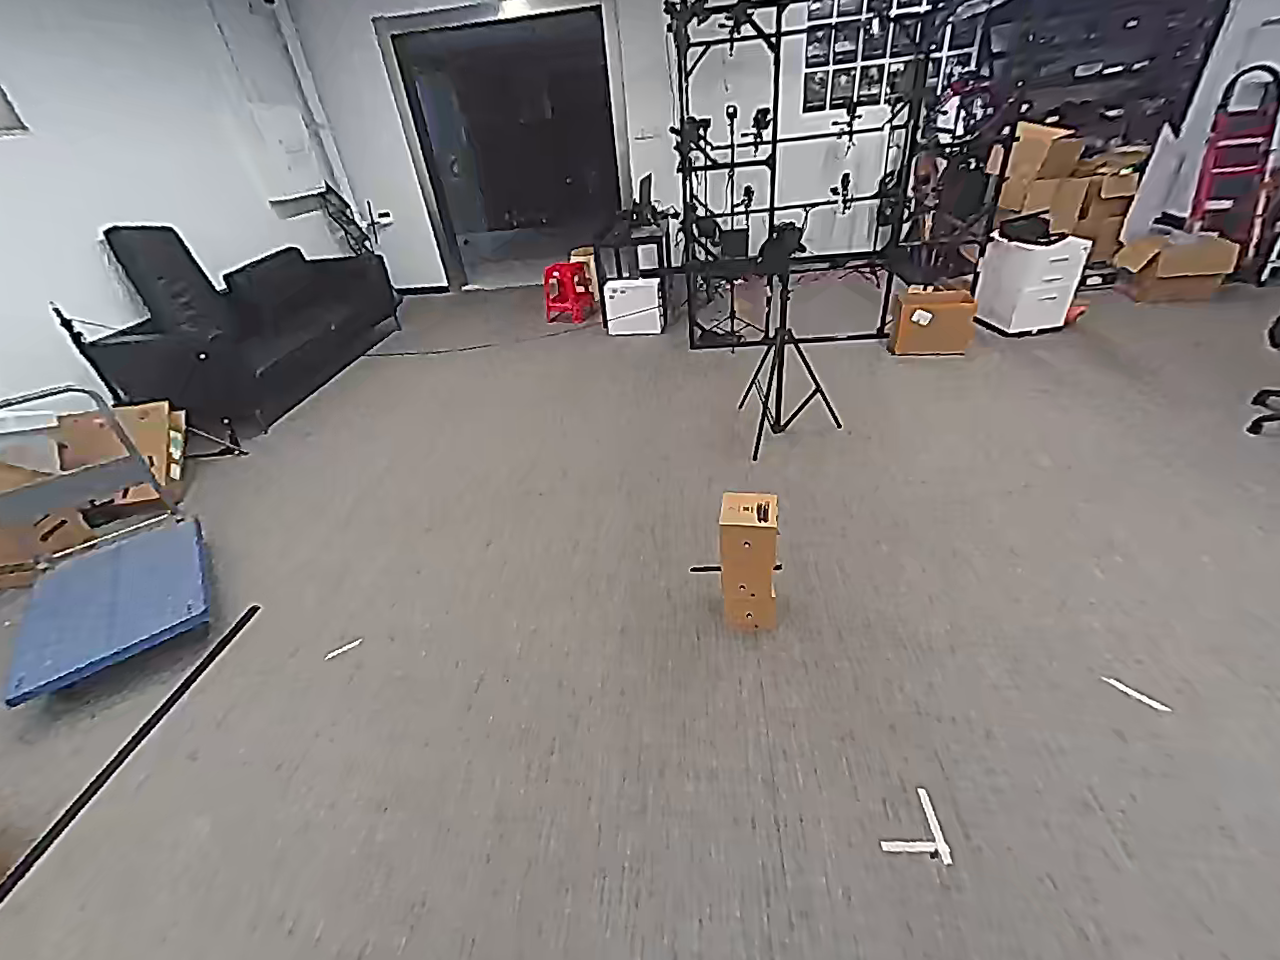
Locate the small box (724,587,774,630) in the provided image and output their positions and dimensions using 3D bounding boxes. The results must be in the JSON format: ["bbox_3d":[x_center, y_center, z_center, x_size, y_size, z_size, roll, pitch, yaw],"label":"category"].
[{"bbox_3d":[0.387,0.423,1.939,0.168,0.176,0.179,-3,33,6],"label":"small box"}]

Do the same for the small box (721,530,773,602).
[{"bbox_3d":[0.365,0.291,1.846,0.168,0.176,0.179,1,35,12],"label":"small box"}]
